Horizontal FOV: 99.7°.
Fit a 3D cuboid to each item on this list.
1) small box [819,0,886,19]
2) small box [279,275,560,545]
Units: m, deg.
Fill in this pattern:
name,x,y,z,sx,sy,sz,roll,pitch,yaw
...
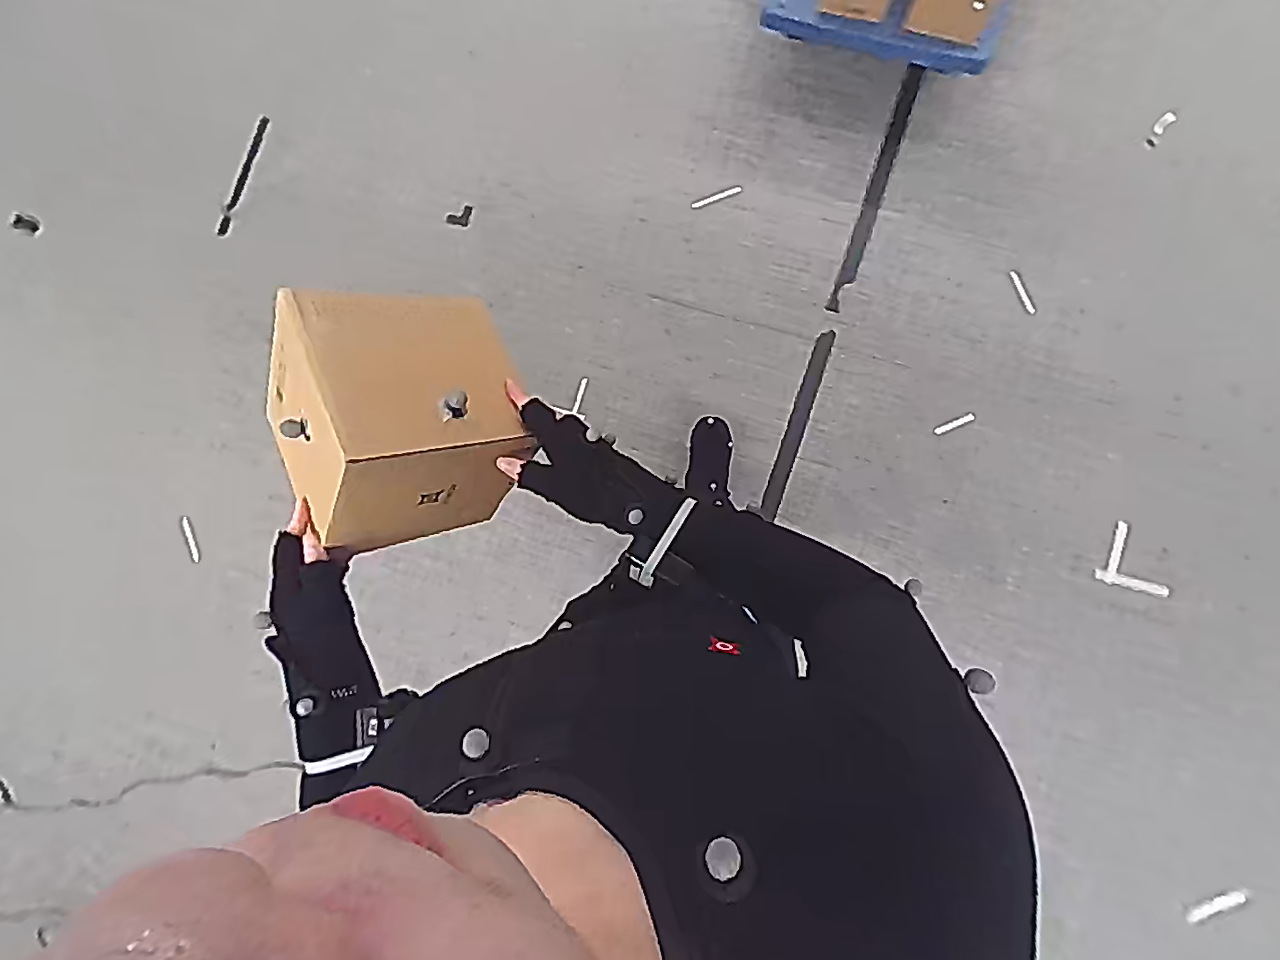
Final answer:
name,x,y,z,sx,sy,sz,roll,pitch,yaw
small box,0.524,-1.232,1.255,0.168,0.176,0.179,17,88,5
small box,-0.212,-0.066,0.504,0.168,0.179,0.176,-43,69,42
